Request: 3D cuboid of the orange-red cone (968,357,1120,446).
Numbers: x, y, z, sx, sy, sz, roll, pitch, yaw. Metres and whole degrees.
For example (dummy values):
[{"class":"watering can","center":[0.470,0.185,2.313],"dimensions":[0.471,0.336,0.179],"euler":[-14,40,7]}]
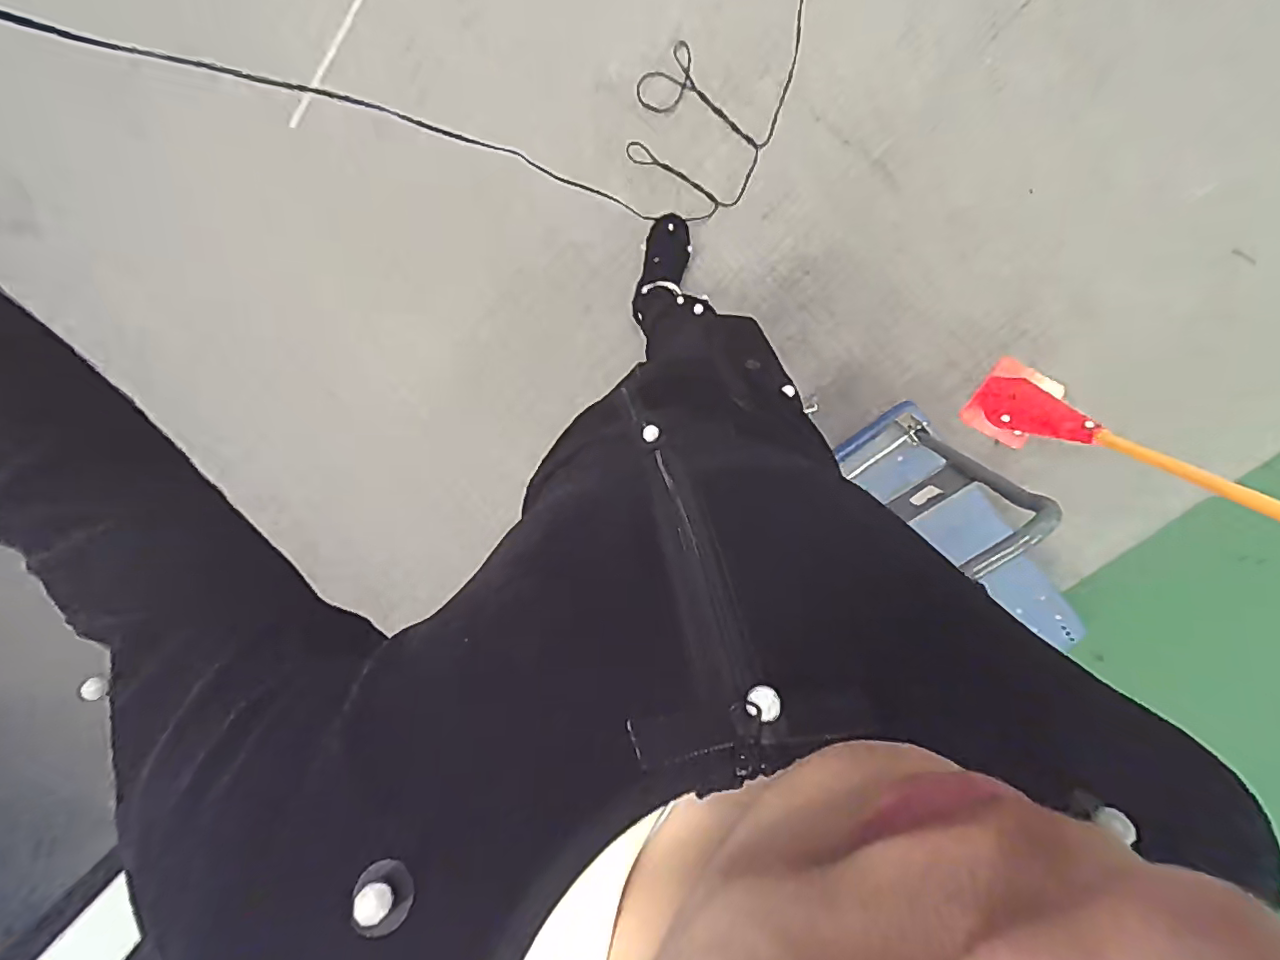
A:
[{"class":"orange-red cone","center":[1.009,-0.155,1.306],"dimensions":[0.198,0.360,0.199],"euler":[28,109,-5]}]
